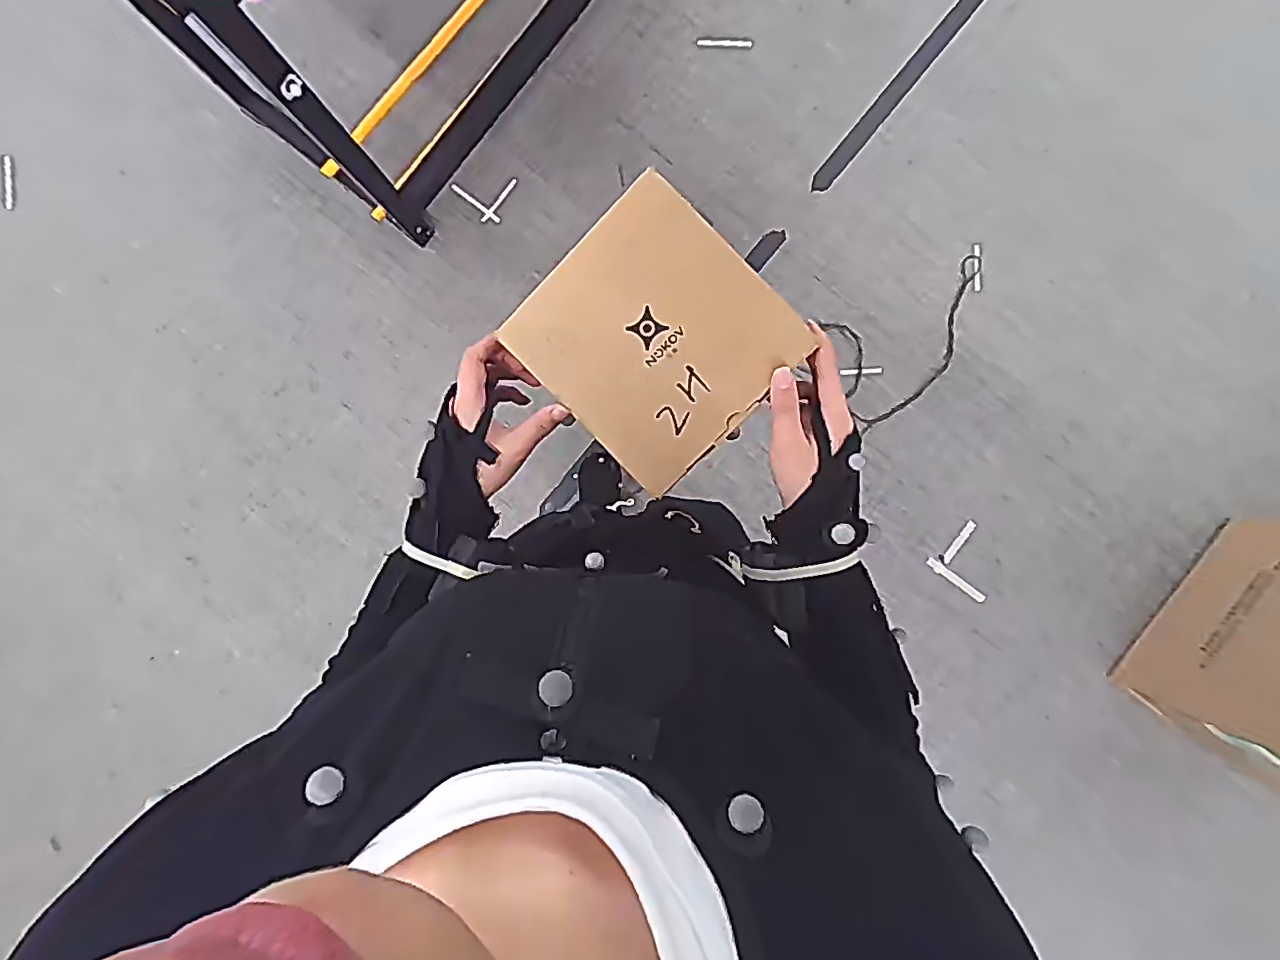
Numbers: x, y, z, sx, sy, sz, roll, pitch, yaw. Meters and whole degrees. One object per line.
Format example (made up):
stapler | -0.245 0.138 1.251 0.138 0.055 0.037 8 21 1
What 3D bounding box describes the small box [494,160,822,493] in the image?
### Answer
small box | 0.016 -0.112 0.459 0.168 0.176 0.179 -44 92 8
